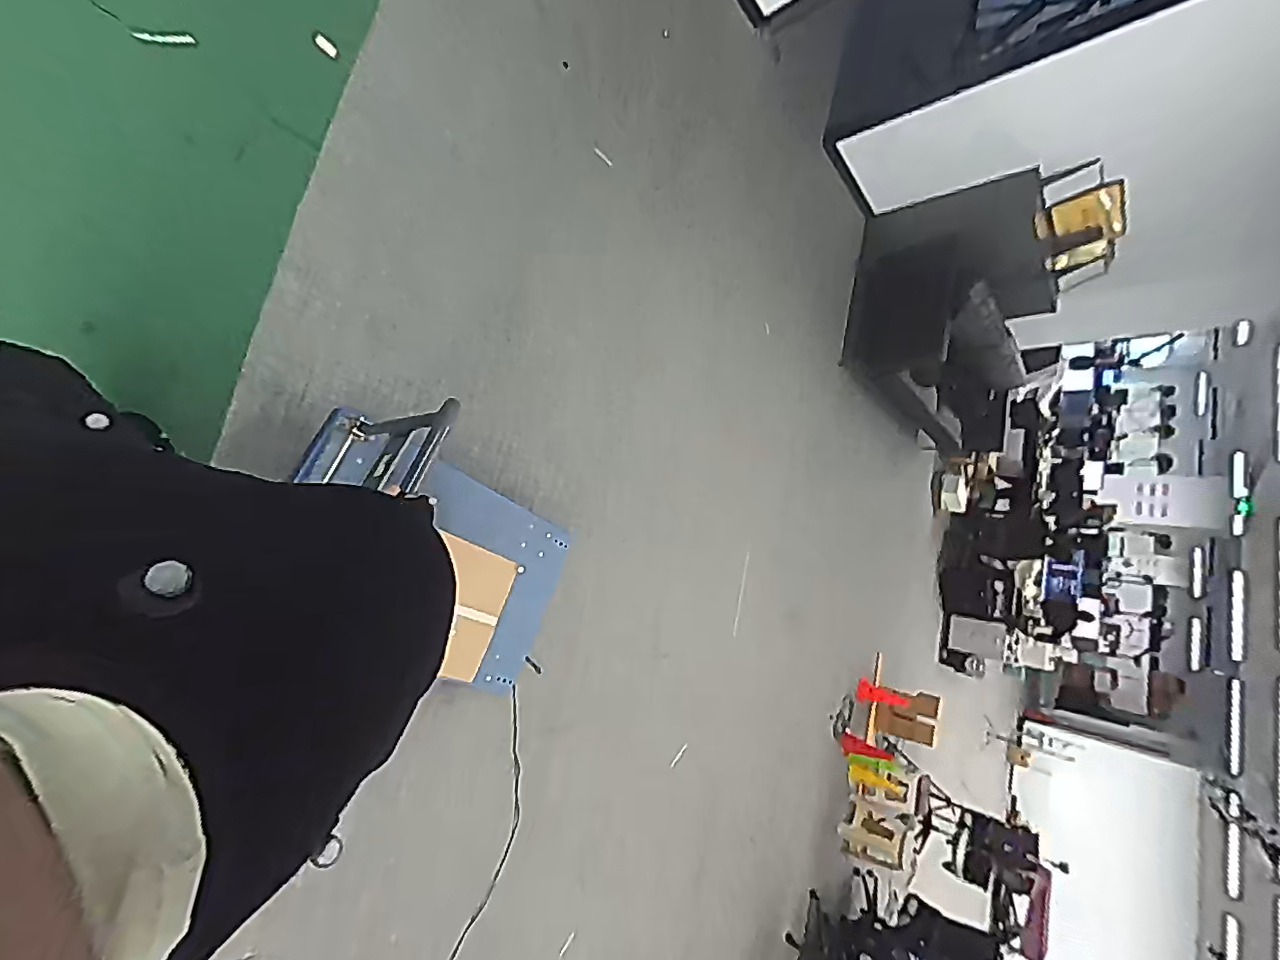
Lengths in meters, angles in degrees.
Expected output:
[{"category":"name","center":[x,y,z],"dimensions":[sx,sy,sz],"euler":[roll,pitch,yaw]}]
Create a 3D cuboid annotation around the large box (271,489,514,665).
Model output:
[{"category":"large box","center":[-0.608,0.240,1.358],"dimensions":[0.408,0.320,0.320],"euler":[36,67,-42]}]
